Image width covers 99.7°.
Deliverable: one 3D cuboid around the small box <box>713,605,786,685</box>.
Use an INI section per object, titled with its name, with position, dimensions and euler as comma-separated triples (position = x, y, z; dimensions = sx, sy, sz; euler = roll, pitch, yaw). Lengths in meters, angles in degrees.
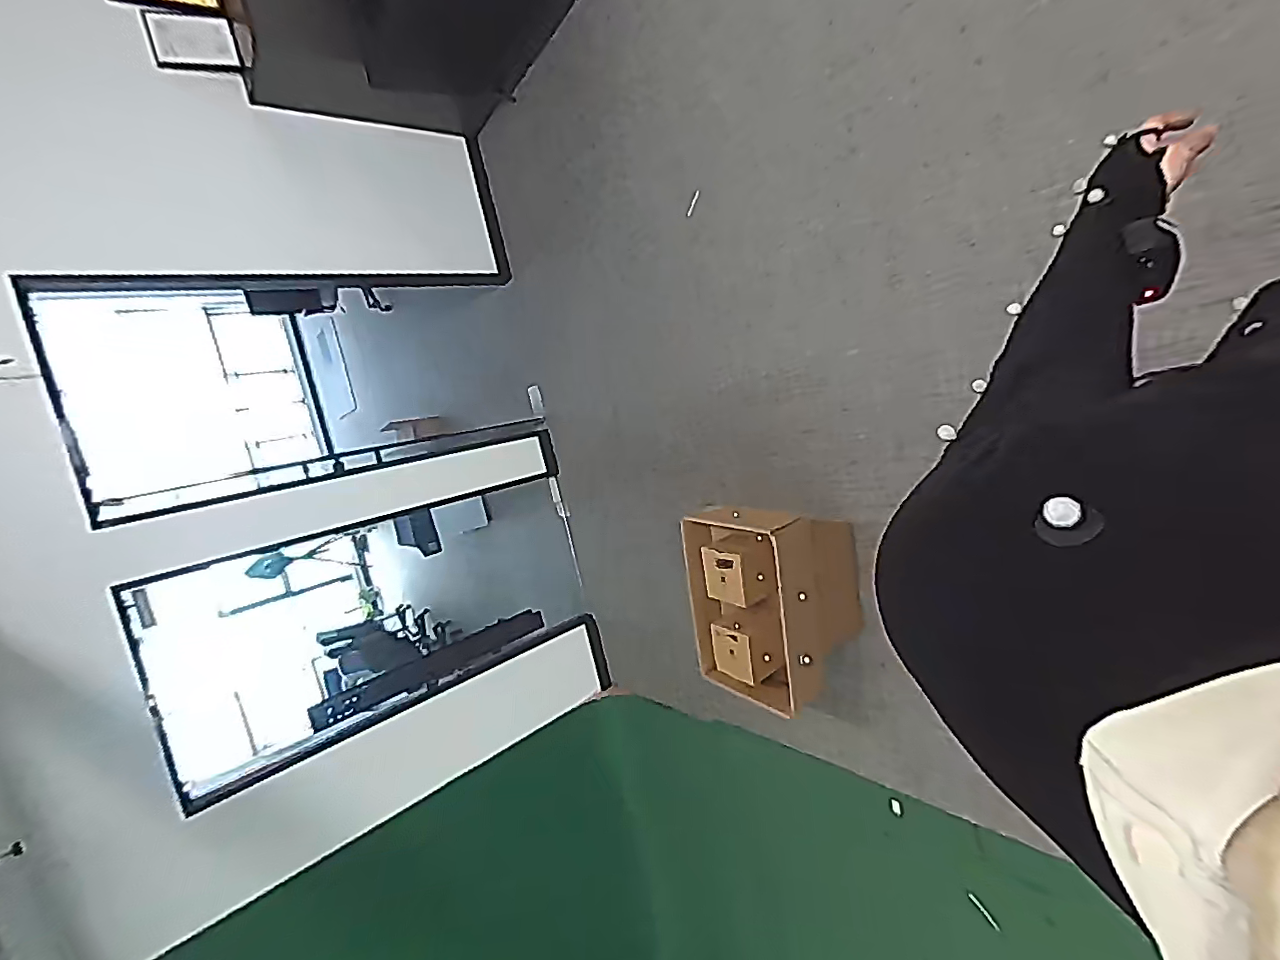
[small box]
position = 0.370, 0.546, 1.806
dimensions = 0.168, 0.176, 0.179
euler = 6, 109, 52
